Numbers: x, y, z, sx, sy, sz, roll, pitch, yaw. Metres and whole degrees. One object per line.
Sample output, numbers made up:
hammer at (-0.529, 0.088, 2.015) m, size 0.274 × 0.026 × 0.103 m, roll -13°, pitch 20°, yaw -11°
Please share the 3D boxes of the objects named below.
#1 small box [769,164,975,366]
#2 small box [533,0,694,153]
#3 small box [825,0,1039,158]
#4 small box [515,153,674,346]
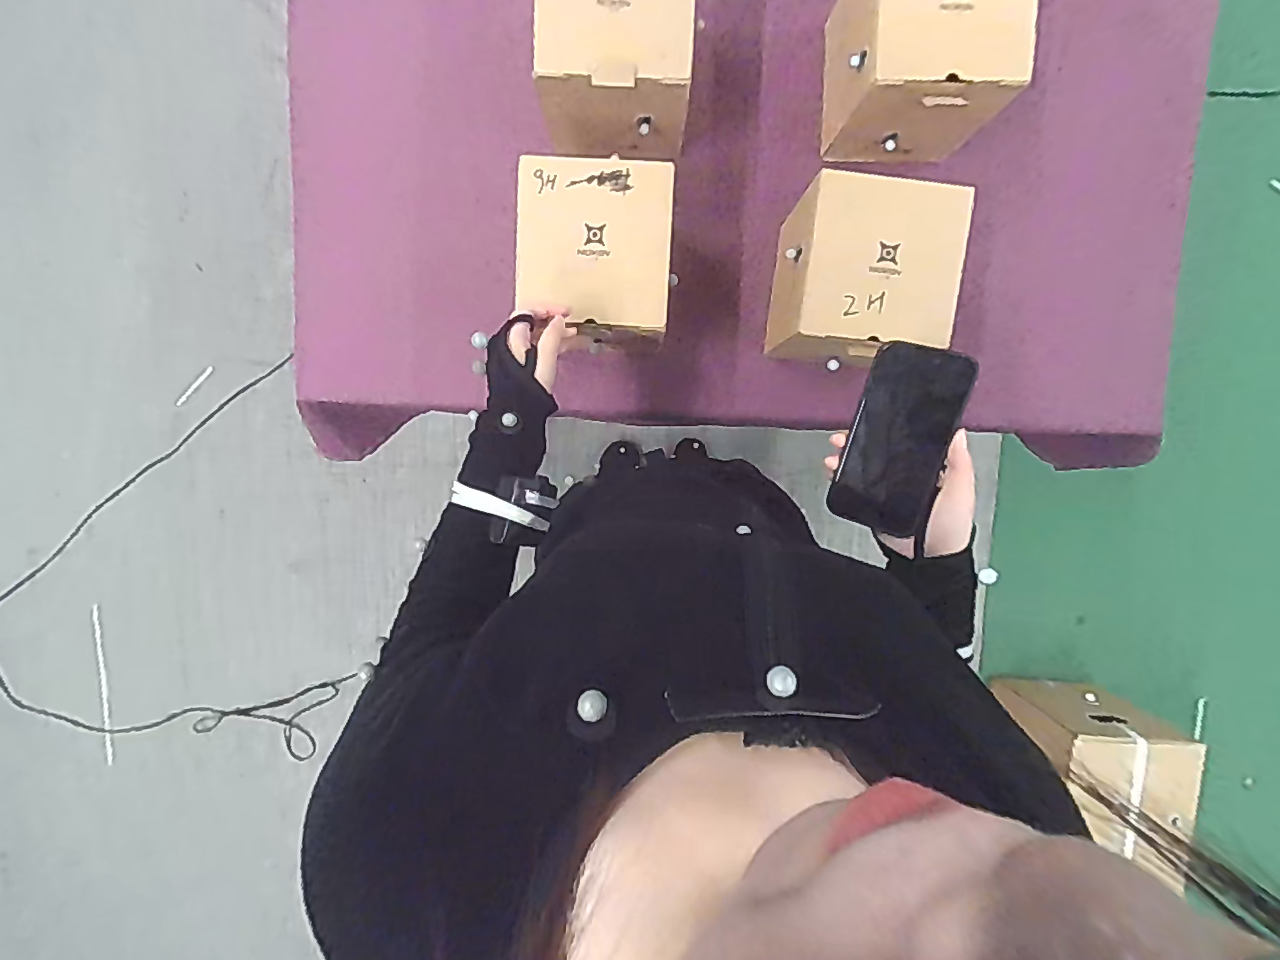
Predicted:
small box at (0.262, -0.244, 0.654) m, size 0.168 × 0.176 × 0.179 m, roll 7°, pitch 96°, yaw 0°
small box at (-0.025, -0.511, 0.630) m, size 0.168 × 0.176 × 0.179 m, roll 2°, pitch 96°, yaw -1°
small box at (0.324, -0.508, 0.629) m, size 0.168 × 0.176 × 0.179 m, roll 0°, pitch 96°, yaw 0°
small box at (-0.049, -0.261, 0.654) m, size 0.168 × 0.176 × 0.179 m, roll 3°, pitch 96°, yaw -1°
